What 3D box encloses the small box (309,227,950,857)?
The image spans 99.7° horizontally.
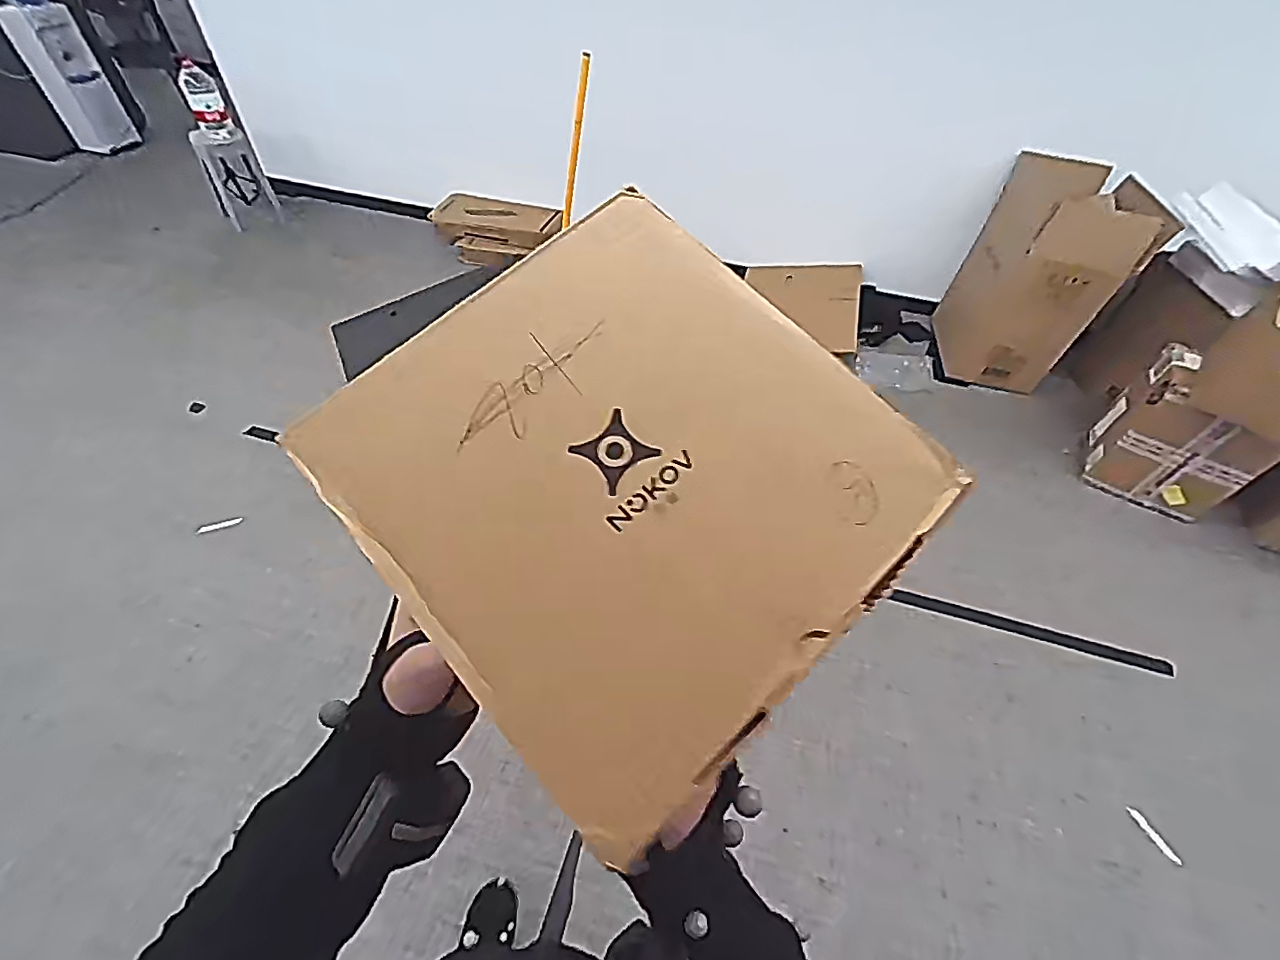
[{"bbox_3d":[-0.004,0.027,0.270,0.168,0.176,0.179,-43,75,-14],"label":"small box"}]
